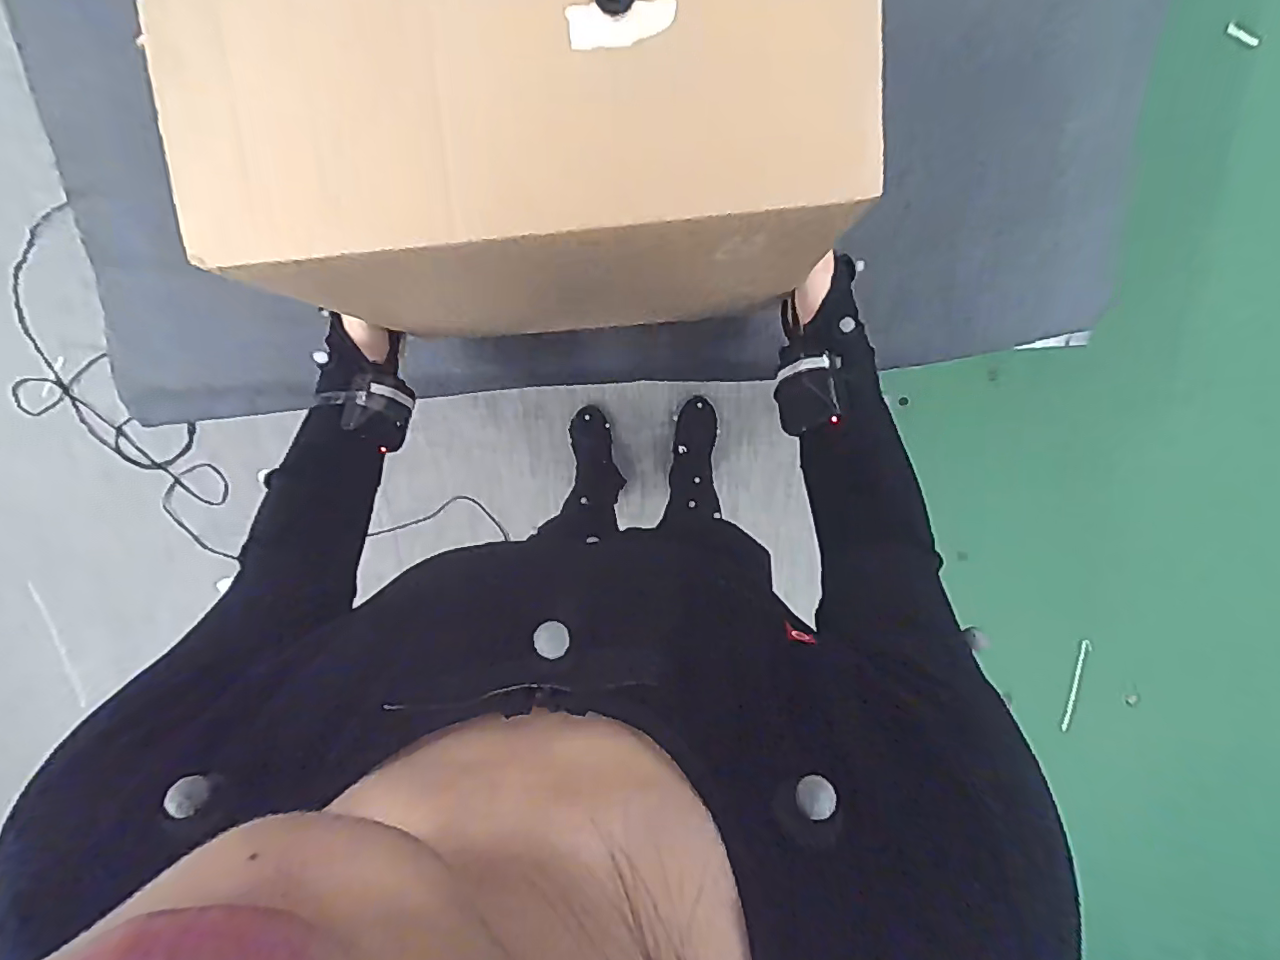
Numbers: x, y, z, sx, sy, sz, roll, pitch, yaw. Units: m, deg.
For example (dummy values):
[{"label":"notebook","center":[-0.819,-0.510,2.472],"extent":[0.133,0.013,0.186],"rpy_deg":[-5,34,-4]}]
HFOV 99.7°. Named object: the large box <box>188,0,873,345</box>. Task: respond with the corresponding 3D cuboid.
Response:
[{"label":"large box","center":[-0.068,-0.312,0.461],"extent":[0.408,0.320,0.320],"rpy_deg":[-5,96,3]}]
